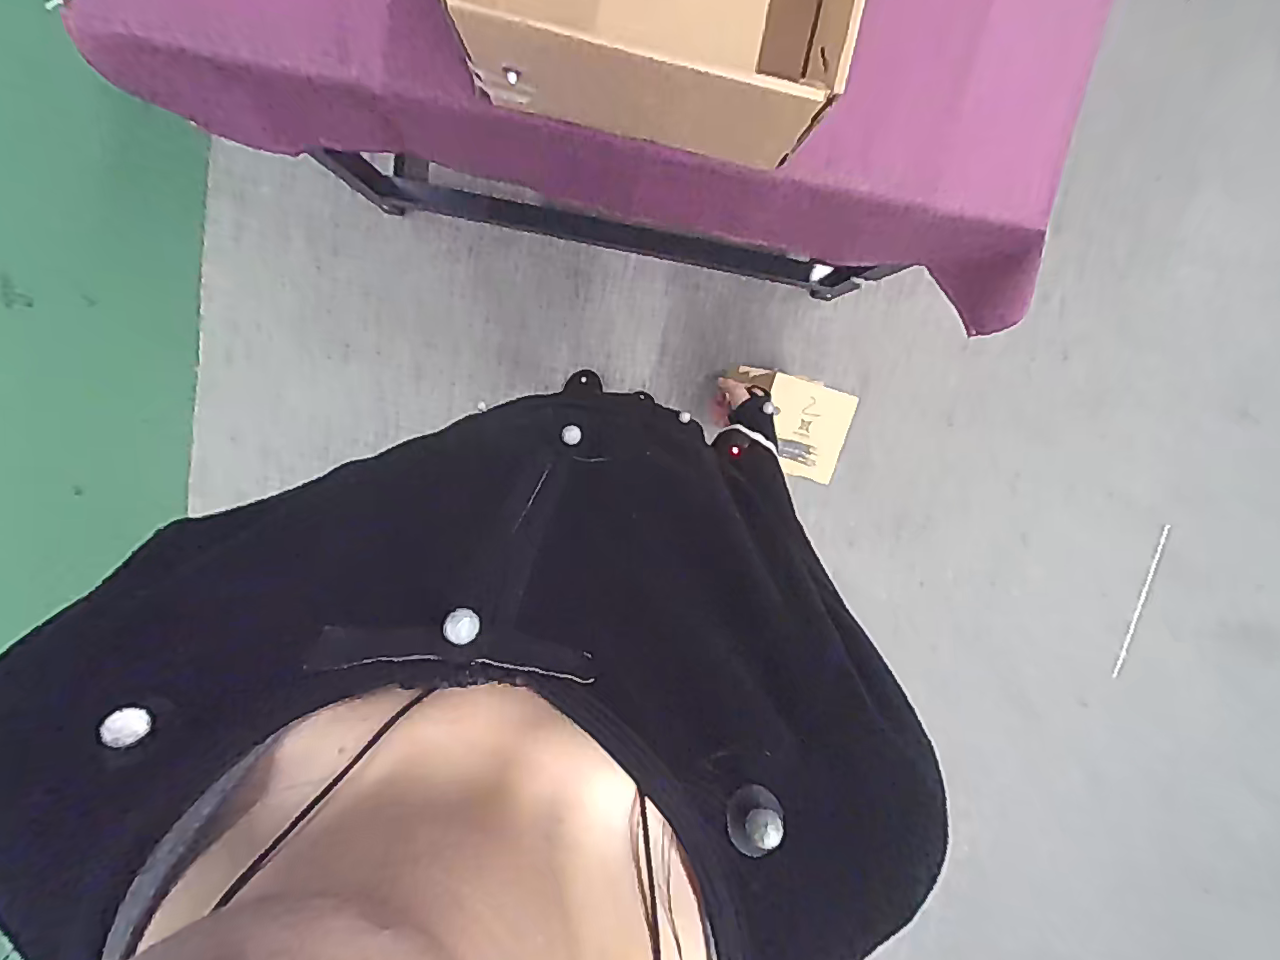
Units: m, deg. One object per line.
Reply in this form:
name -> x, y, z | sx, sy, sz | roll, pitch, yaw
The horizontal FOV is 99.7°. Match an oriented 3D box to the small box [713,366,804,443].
small box -> 0.302, -0.200, 1.409 | 0.179, 0.176, 0.168 | 10, 99, -2
